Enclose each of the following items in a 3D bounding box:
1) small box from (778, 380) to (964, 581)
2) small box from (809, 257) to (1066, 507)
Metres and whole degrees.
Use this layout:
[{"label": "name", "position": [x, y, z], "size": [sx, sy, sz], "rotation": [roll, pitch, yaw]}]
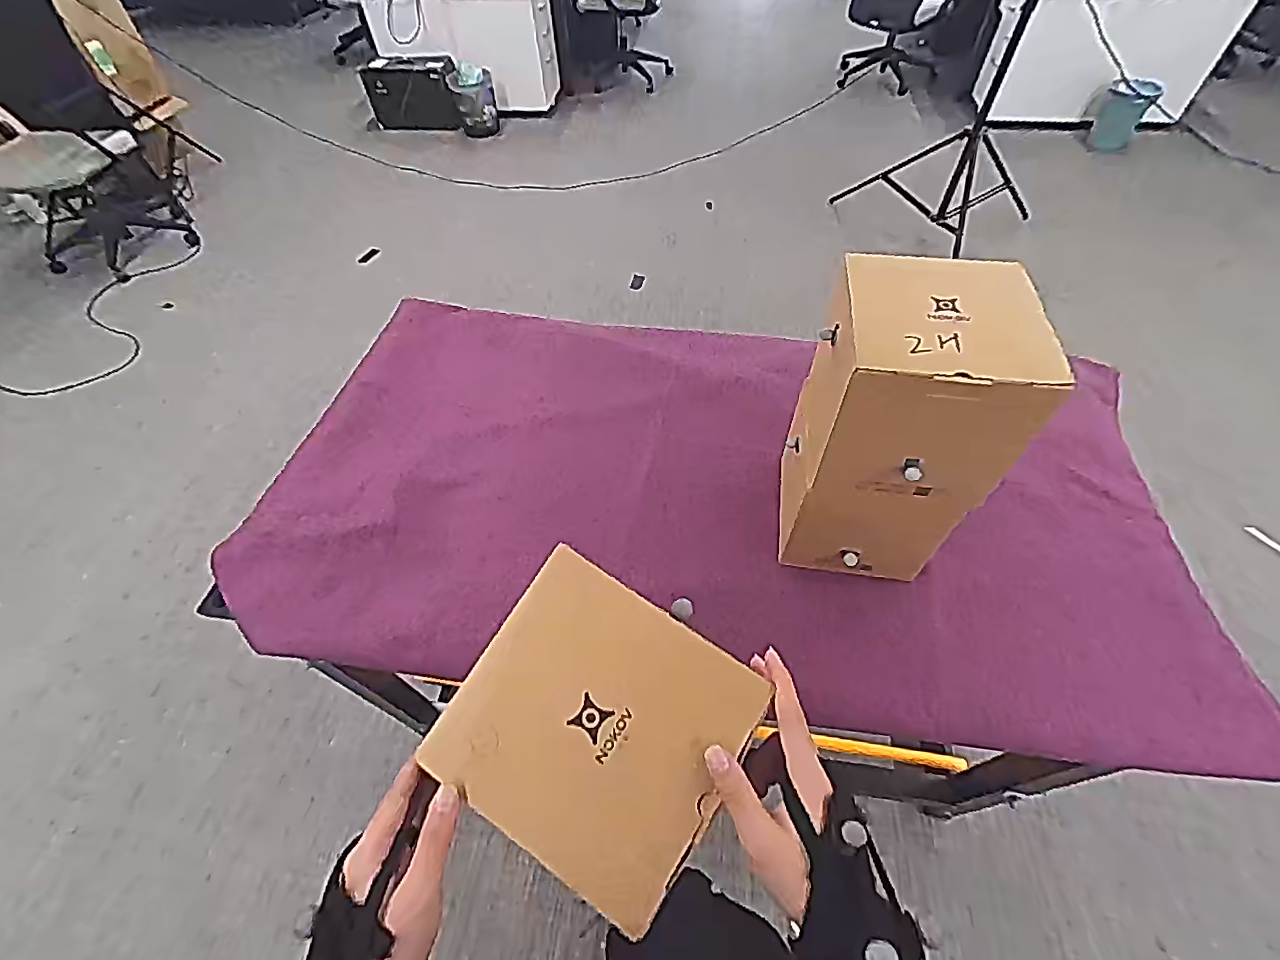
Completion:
[{"label": "small box", "position": [0.271, 0.002, 0.678], "size": [0.168, 0.176, 0.179], "rotation": [7, 54, 8]}, {"label": "small box", "position": [0.271, -0.098, 0.546], "size": [0.168, 0.176, 0.179], "rotation": [6, 53, 8]}]
